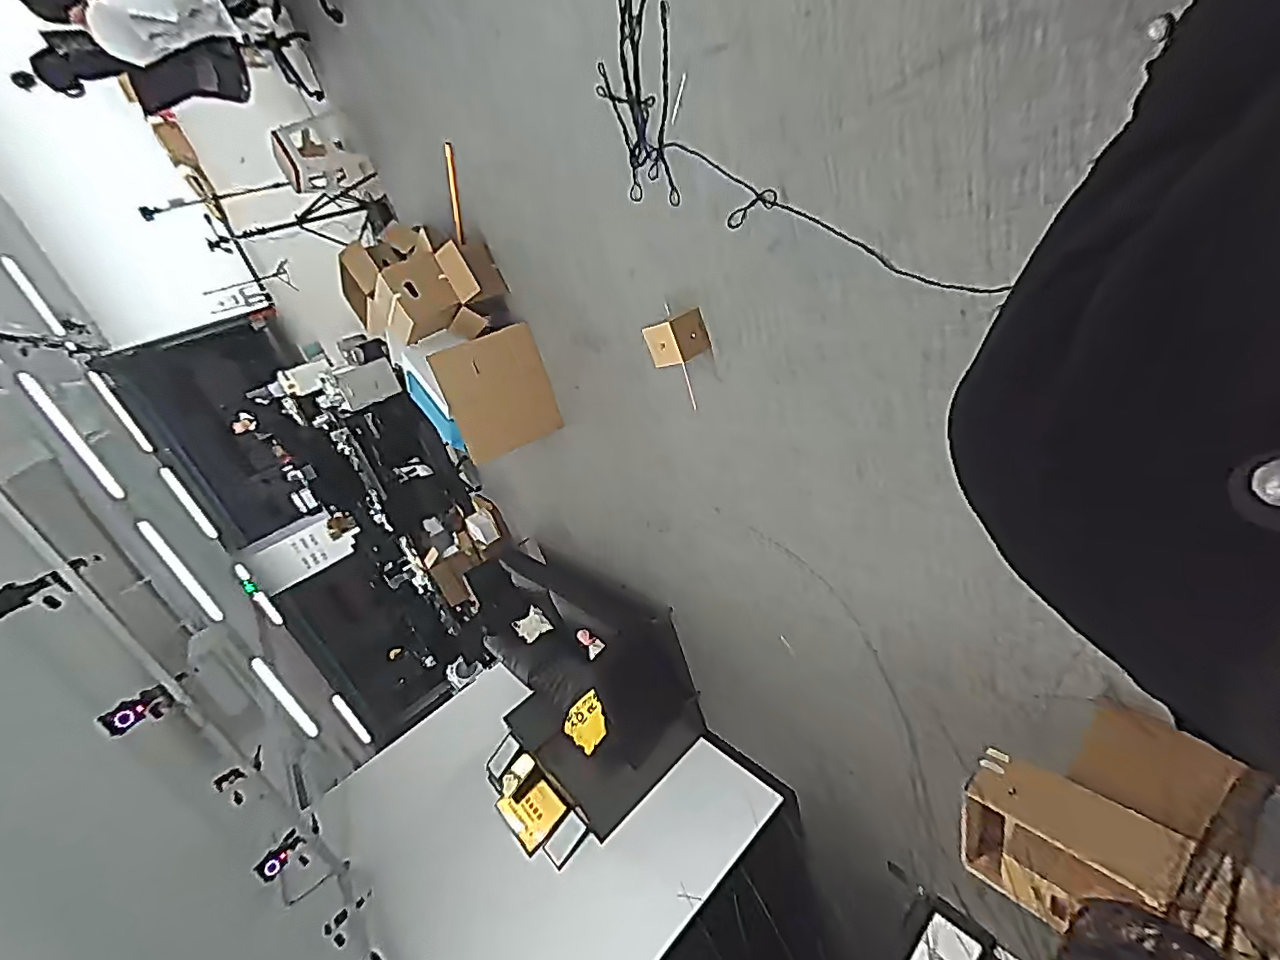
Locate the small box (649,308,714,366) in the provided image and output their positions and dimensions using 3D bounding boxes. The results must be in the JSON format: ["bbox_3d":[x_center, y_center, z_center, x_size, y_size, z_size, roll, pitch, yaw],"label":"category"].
[{"bbox_3d":[0.171,-0.567,2.145,0.179,0.176,0.168,7,124,55],"label":"small box"}]
